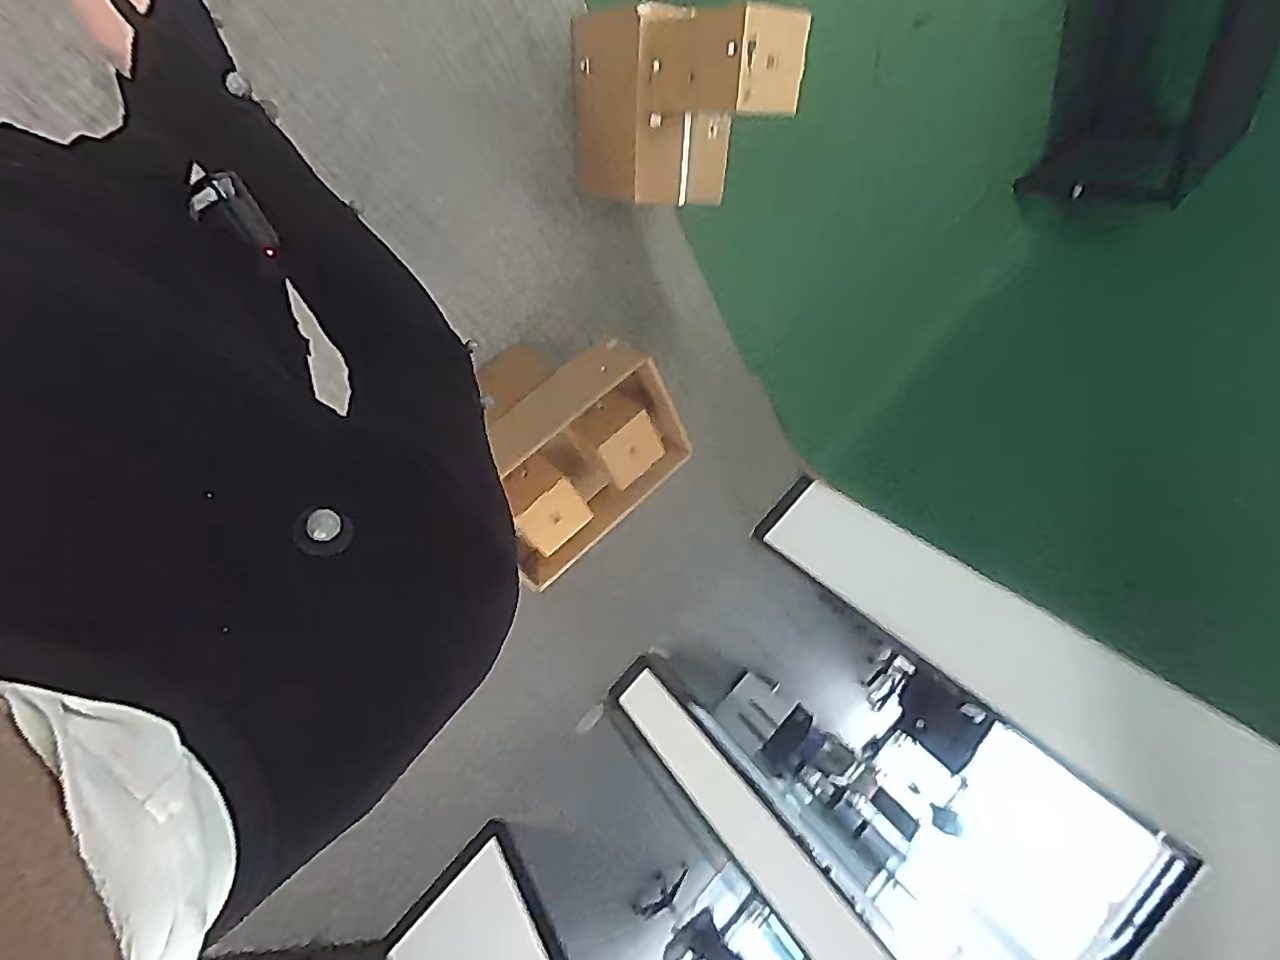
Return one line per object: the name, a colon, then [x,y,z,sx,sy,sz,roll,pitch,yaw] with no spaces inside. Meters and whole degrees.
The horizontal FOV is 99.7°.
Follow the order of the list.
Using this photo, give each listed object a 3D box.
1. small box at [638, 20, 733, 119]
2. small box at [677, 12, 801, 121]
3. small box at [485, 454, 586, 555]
small box: [0.115,-0.938,1.246,0.179,0.176,0.168,-19,129,-29]
small box: [0.201,-0.858,1.132,0.179,0.176,0.168,-21,130,-30]
small box: [-0.280,0.061,1.447,0.168,0.176,0.179,-41,136,-11]
